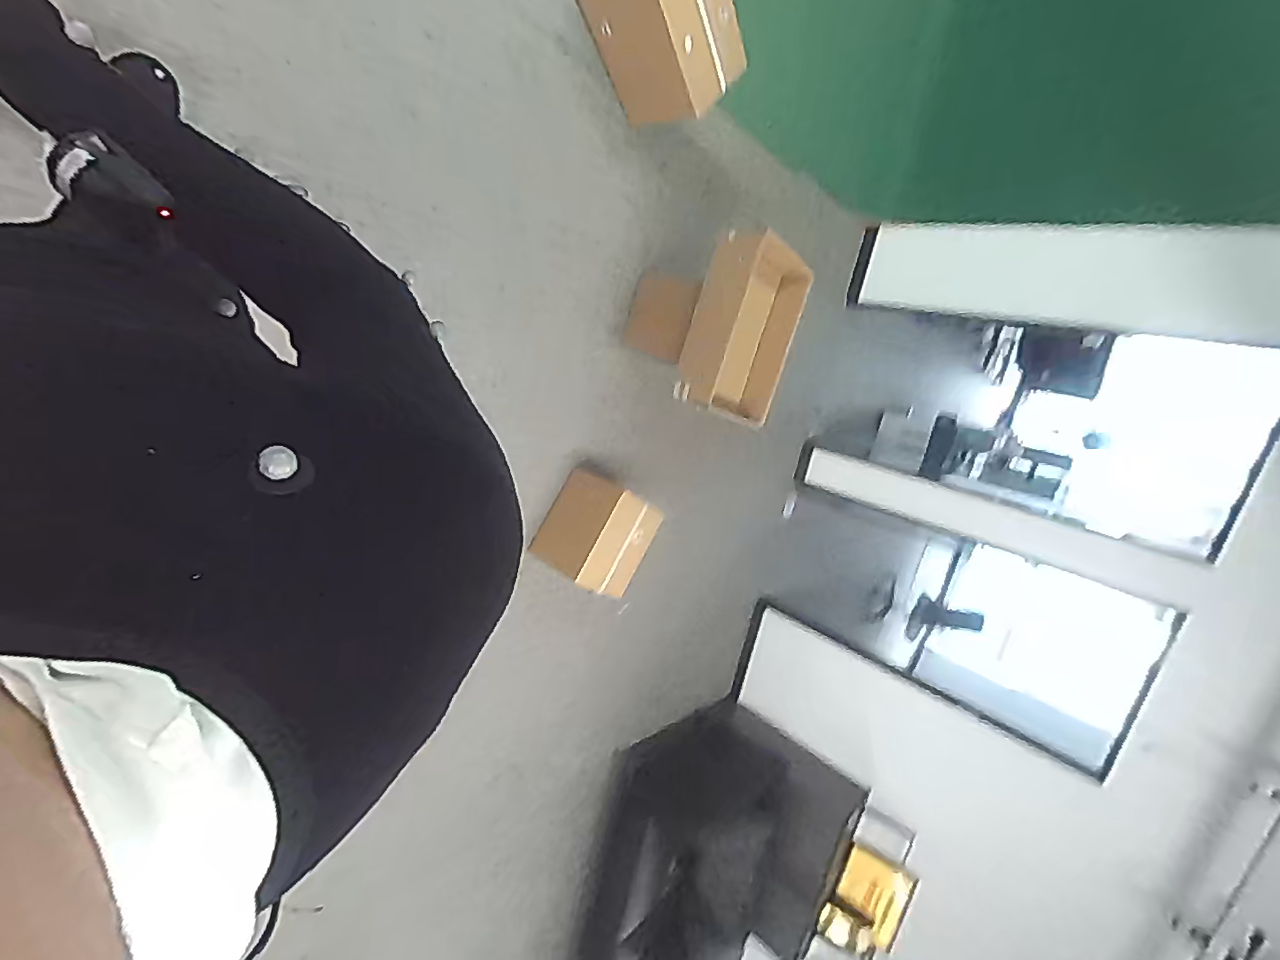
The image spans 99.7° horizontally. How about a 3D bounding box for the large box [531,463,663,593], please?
[{"bbox_3d":[-0.178,0.199,2.241,0.320,0.320,0.408,34,81,-51],"label":"large box"}]
